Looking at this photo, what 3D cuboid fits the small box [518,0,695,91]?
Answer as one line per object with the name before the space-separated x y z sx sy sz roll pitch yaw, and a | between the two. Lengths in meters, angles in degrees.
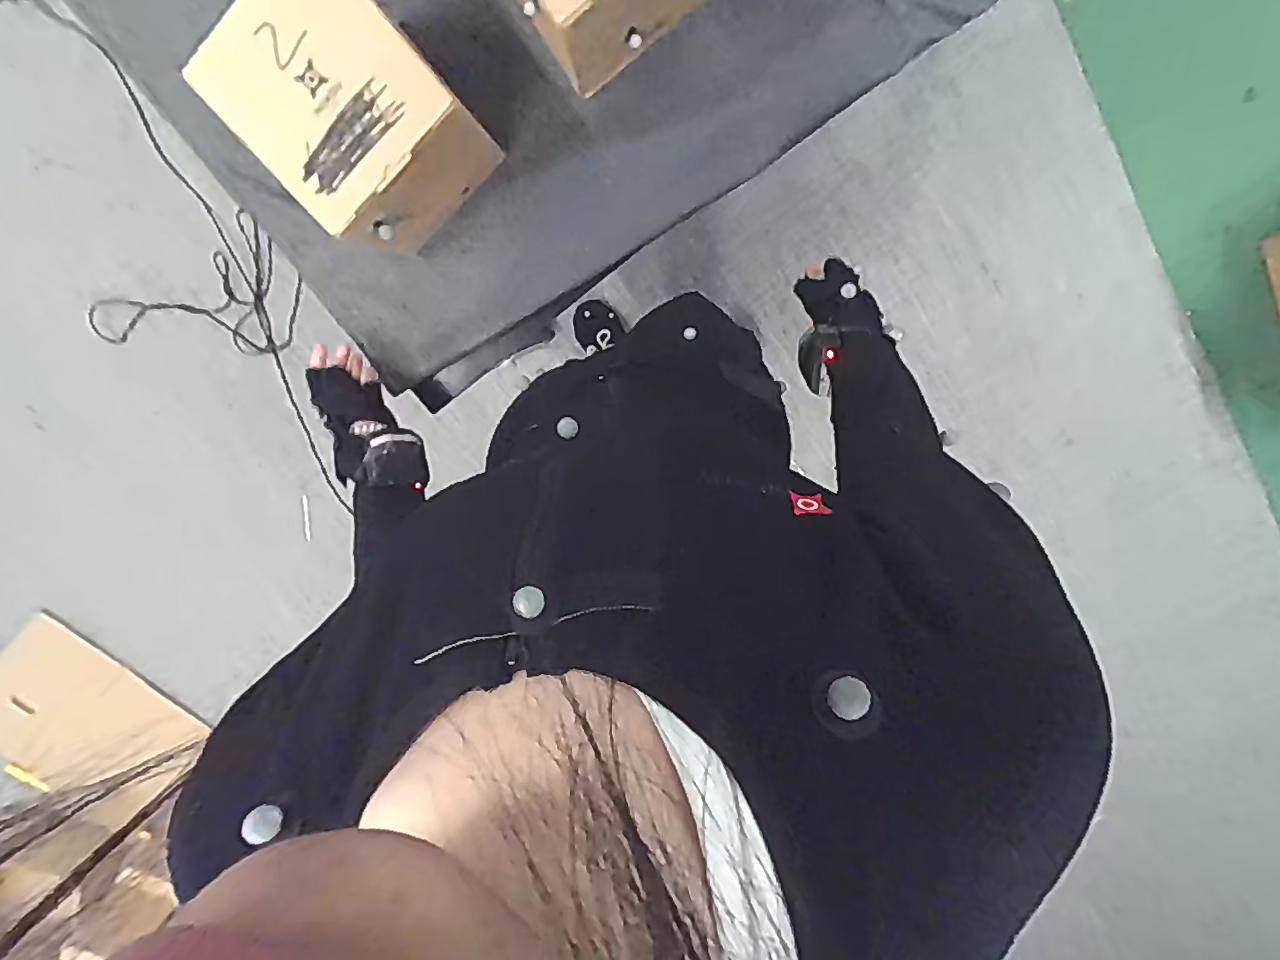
small box | -0.049 -0.513 0.494 0.168 0.176 0.179 -34 106 10
